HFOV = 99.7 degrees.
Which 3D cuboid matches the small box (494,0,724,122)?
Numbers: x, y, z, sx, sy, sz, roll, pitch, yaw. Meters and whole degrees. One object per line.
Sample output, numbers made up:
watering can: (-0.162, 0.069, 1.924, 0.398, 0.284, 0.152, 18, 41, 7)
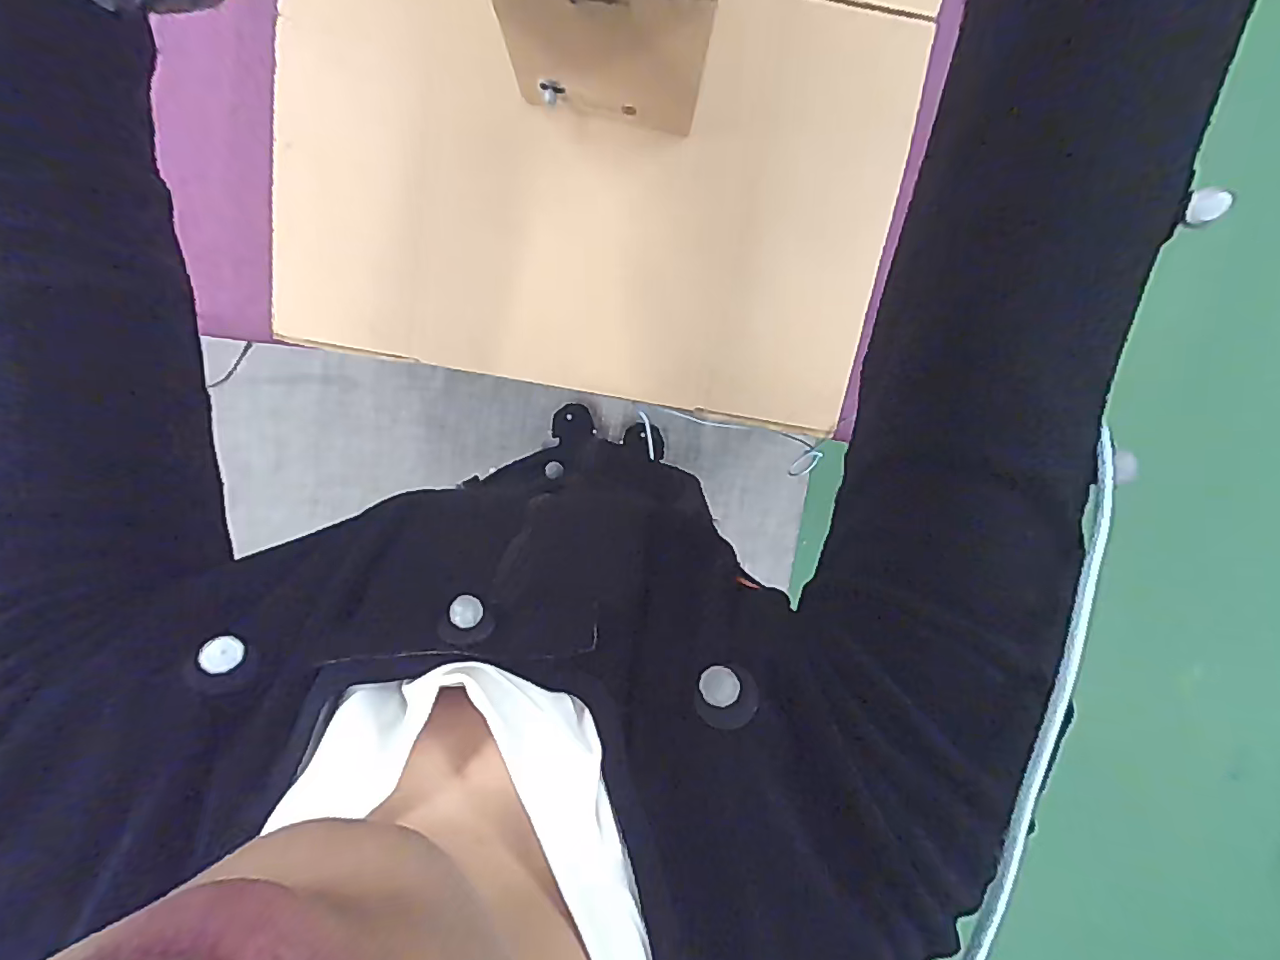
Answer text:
small box: (-0.012, -0.419, 0.423, 0.168, 0.176, 0.179, 7, 98, -2)
